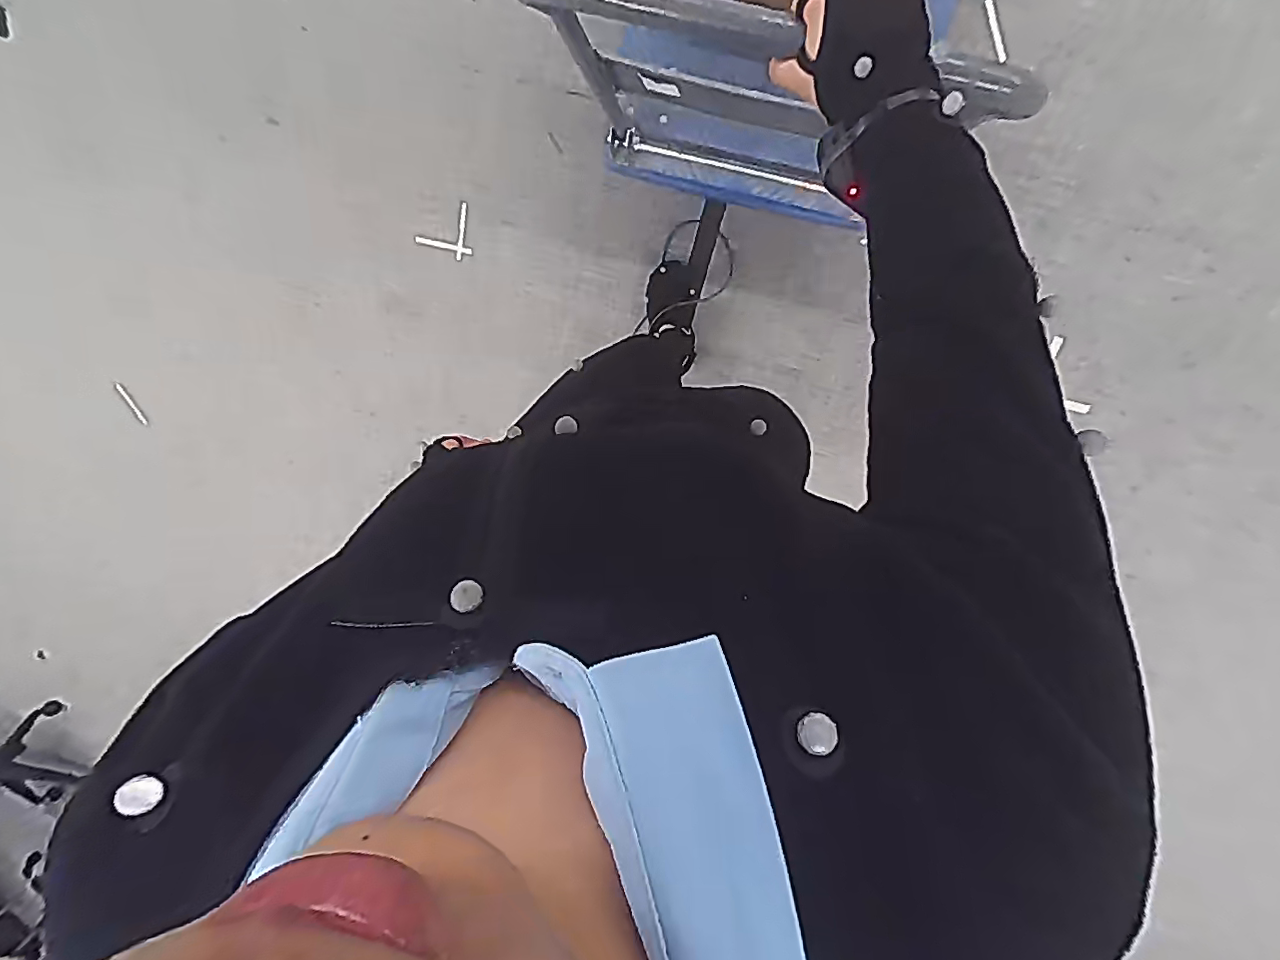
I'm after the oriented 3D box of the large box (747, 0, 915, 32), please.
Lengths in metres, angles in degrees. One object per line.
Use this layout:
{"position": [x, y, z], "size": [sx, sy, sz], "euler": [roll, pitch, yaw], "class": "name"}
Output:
{"position": [0.281, -0.946, 0.799], "size": [0.408, 0.320, 0.320], "euler": [17, 112, 3], "class": "large box"}
